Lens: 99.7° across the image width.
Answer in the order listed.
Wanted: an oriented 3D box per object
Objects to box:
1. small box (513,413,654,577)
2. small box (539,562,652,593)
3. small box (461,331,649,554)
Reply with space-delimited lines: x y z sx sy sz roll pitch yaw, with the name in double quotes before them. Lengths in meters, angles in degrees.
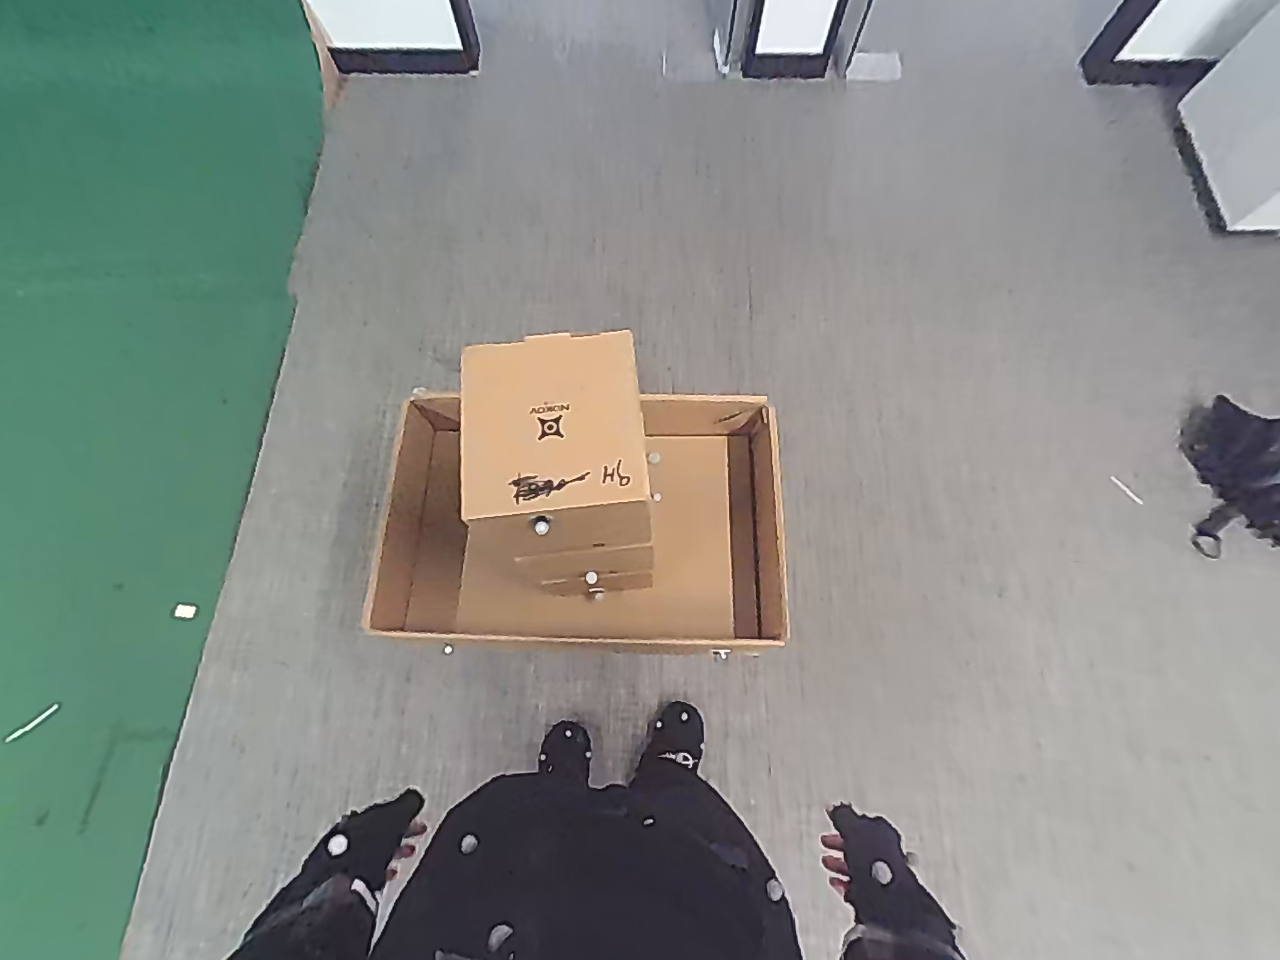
"small box" -0.071 0.025 0.729 0.168 0.176 0.179 -6 71 0
"small box" -0.070 0.081 0.884 0.168 0.176 0.179 -6 72 0
"small box" -0.080 -0.031 0.576 0.168 0.176 0.179 -6 70 1
